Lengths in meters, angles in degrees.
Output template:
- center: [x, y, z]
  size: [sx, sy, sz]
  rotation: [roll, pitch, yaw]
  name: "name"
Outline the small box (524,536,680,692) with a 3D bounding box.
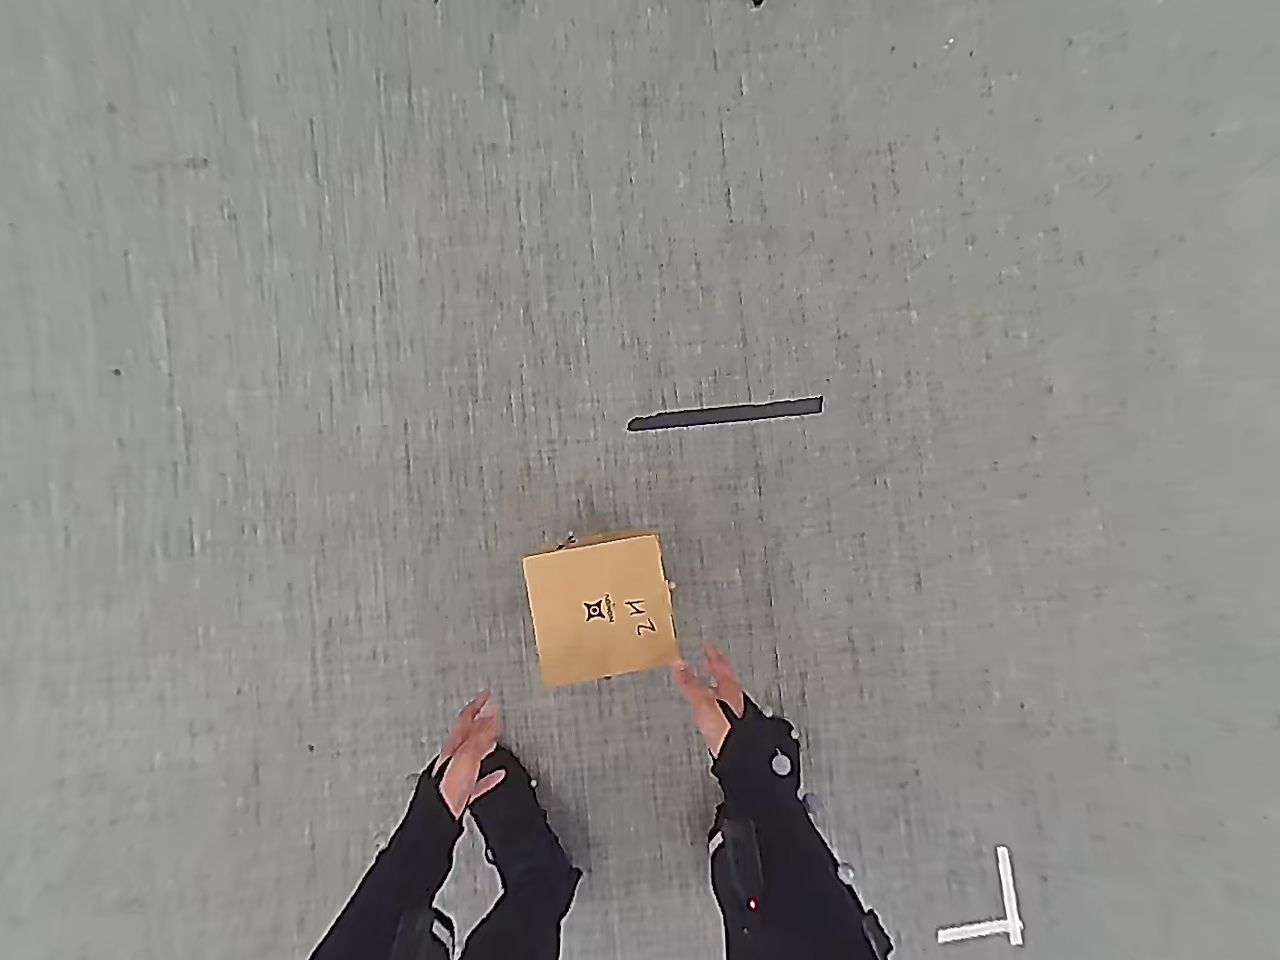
- center: [-0.047, 0.173, 0.749]
  size: [0.179, 0.176, 0.168]
  rotation: [-10, 87, -2]
  name: "small box"
